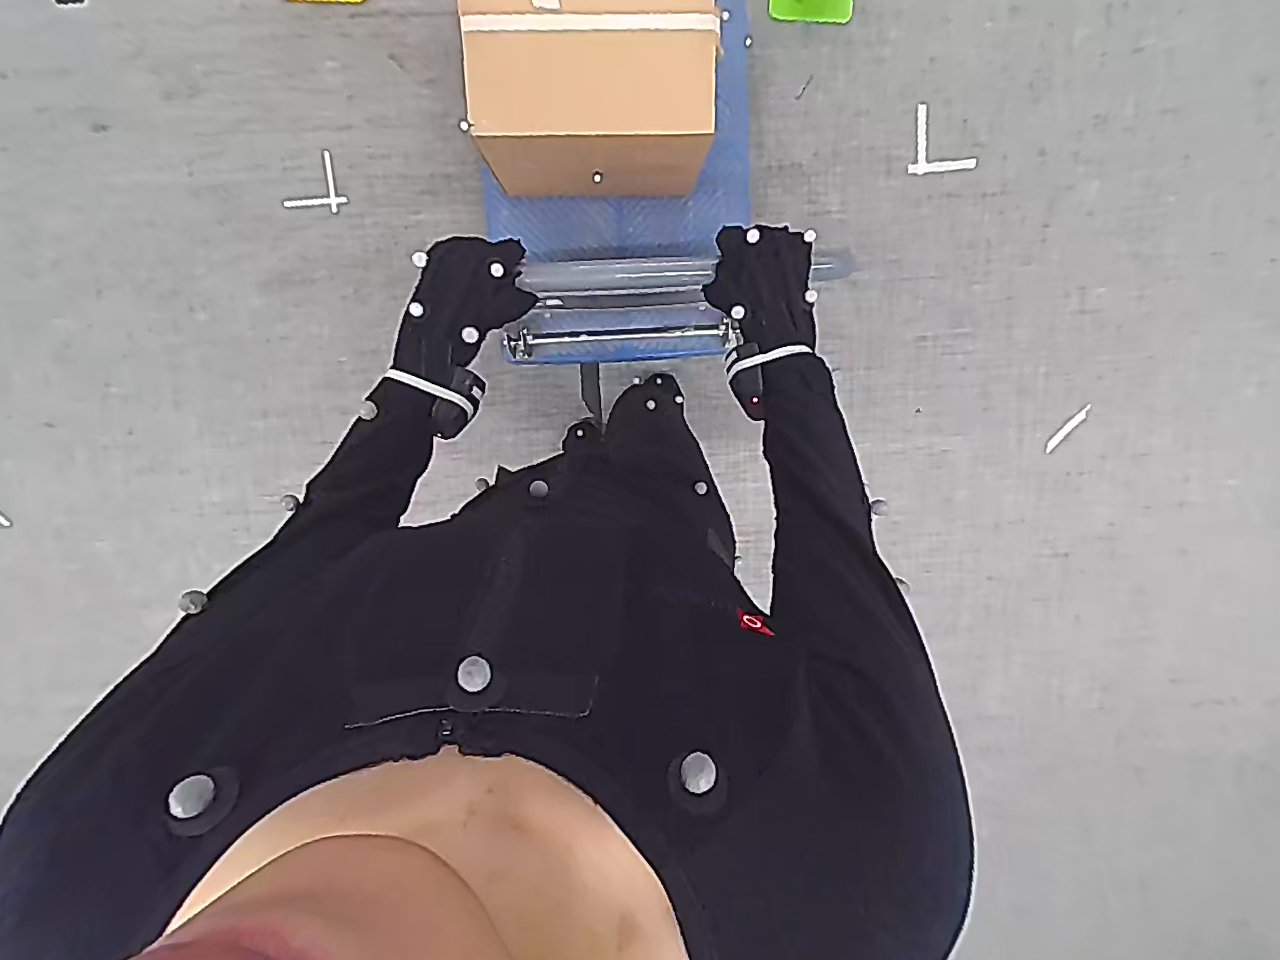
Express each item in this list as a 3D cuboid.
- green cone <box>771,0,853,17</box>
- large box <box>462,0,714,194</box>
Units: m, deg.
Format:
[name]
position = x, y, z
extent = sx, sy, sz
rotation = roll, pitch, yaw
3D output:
[green cone]
position = 0.417, -1.168, 1.096
extent = 0.202, 0.368, 0.200
rotation = 0, 100, -3
[large box]
position = -0.084, -0.749, 1.009
extent = 0.408, 0.320, 0.320
rotation = -2, 101, -1
